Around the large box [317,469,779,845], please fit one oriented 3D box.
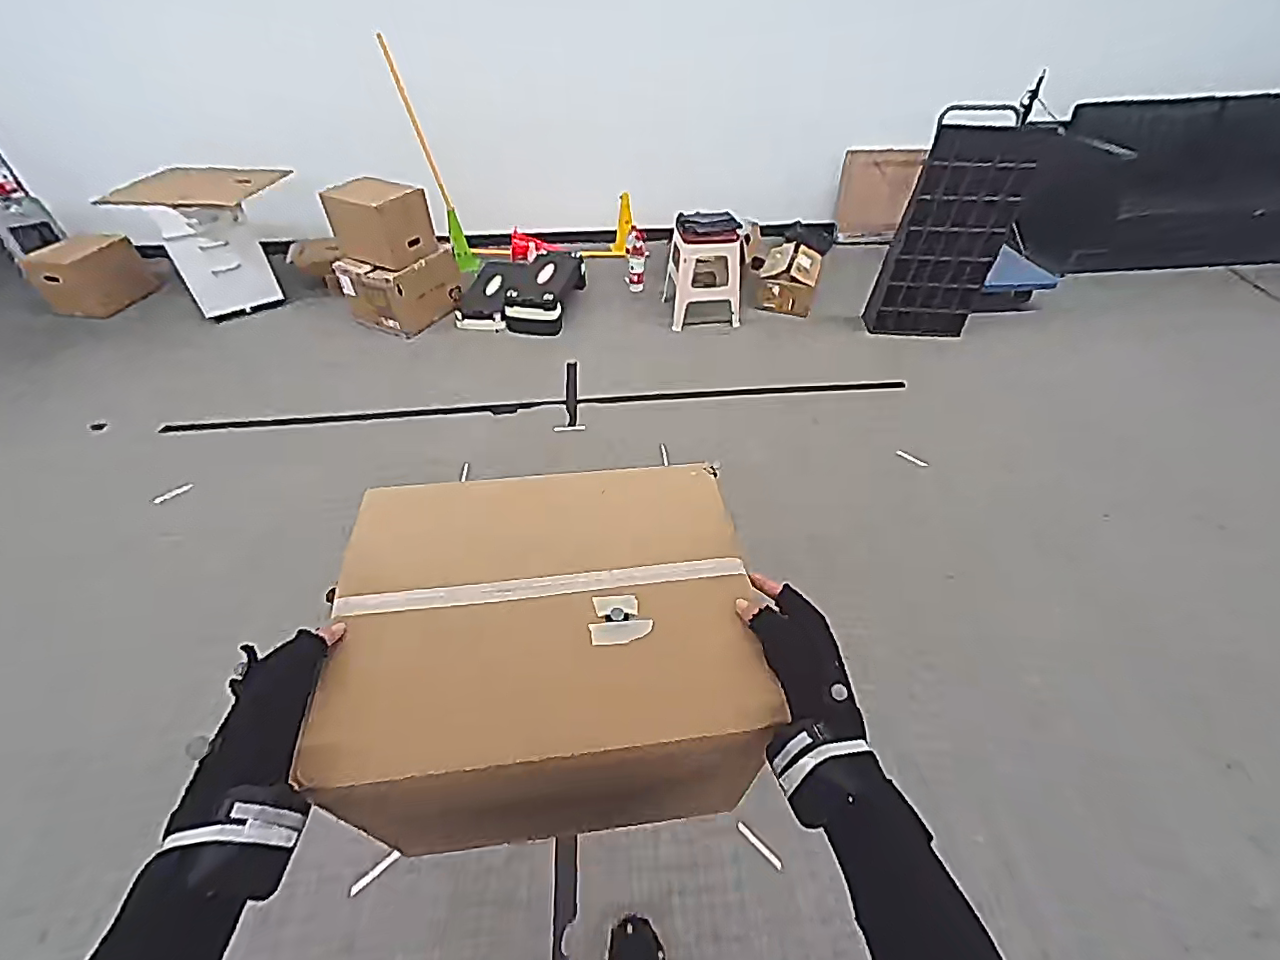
[{"bbox_3d":[-0.097,0.214,0.669,0.408,0.320,0.320,-4,48,-7],"label":"large box"}]
